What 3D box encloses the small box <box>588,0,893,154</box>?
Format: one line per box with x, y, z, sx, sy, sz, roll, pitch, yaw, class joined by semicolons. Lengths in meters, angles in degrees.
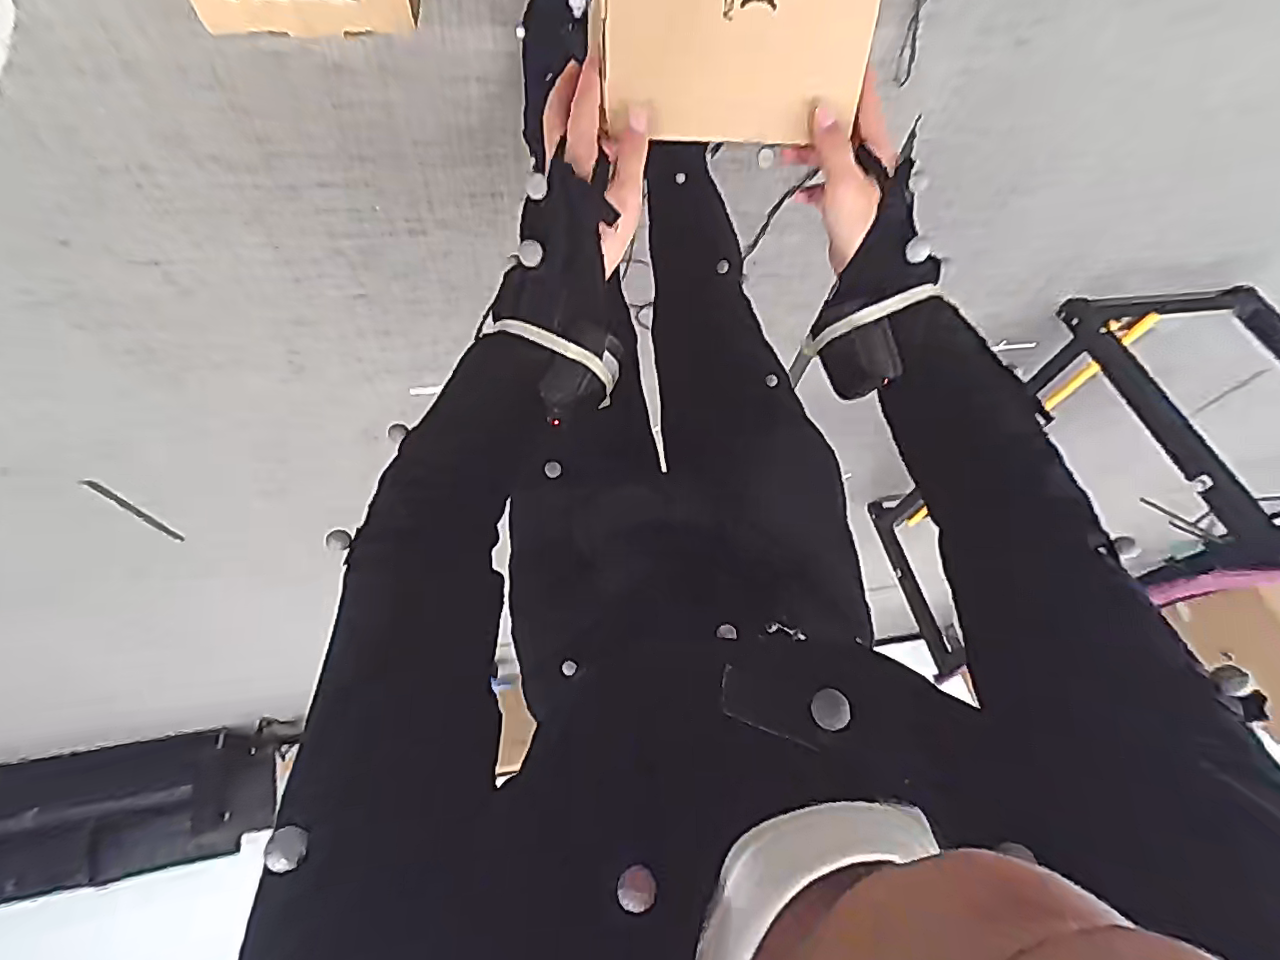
0.057;-0.334;0.377;0.179;0.176;0.168;-1;124;-8;small box
